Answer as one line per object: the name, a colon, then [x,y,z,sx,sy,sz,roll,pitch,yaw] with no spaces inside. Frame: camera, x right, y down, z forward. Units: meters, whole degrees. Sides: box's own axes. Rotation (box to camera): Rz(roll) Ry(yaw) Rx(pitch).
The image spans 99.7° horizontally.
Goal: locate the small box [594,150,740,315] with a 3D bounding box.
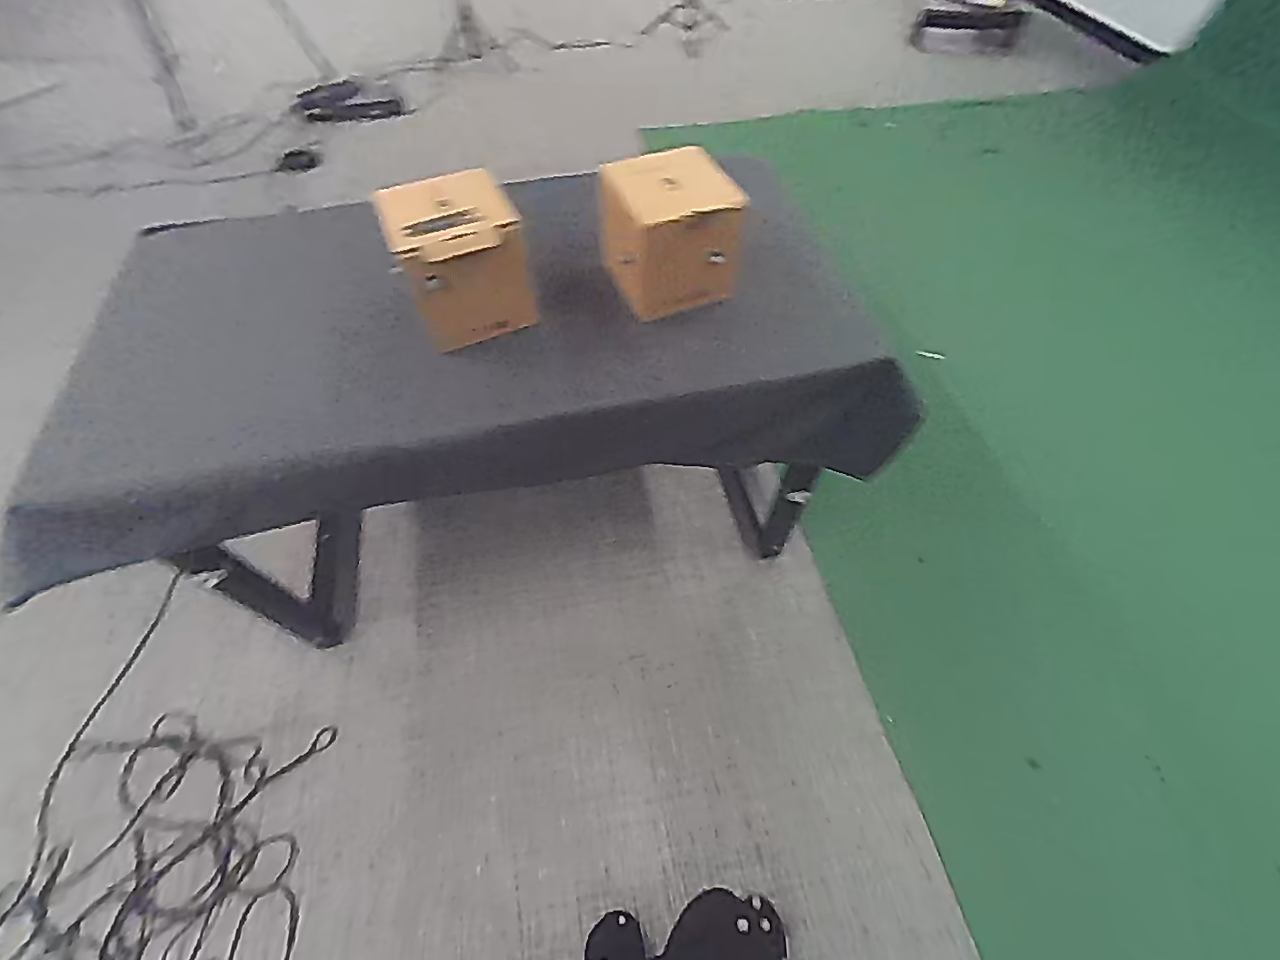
small box: [0.038,-0.383,0.856,0.168,0.176,0.179,-20,57,-14]
